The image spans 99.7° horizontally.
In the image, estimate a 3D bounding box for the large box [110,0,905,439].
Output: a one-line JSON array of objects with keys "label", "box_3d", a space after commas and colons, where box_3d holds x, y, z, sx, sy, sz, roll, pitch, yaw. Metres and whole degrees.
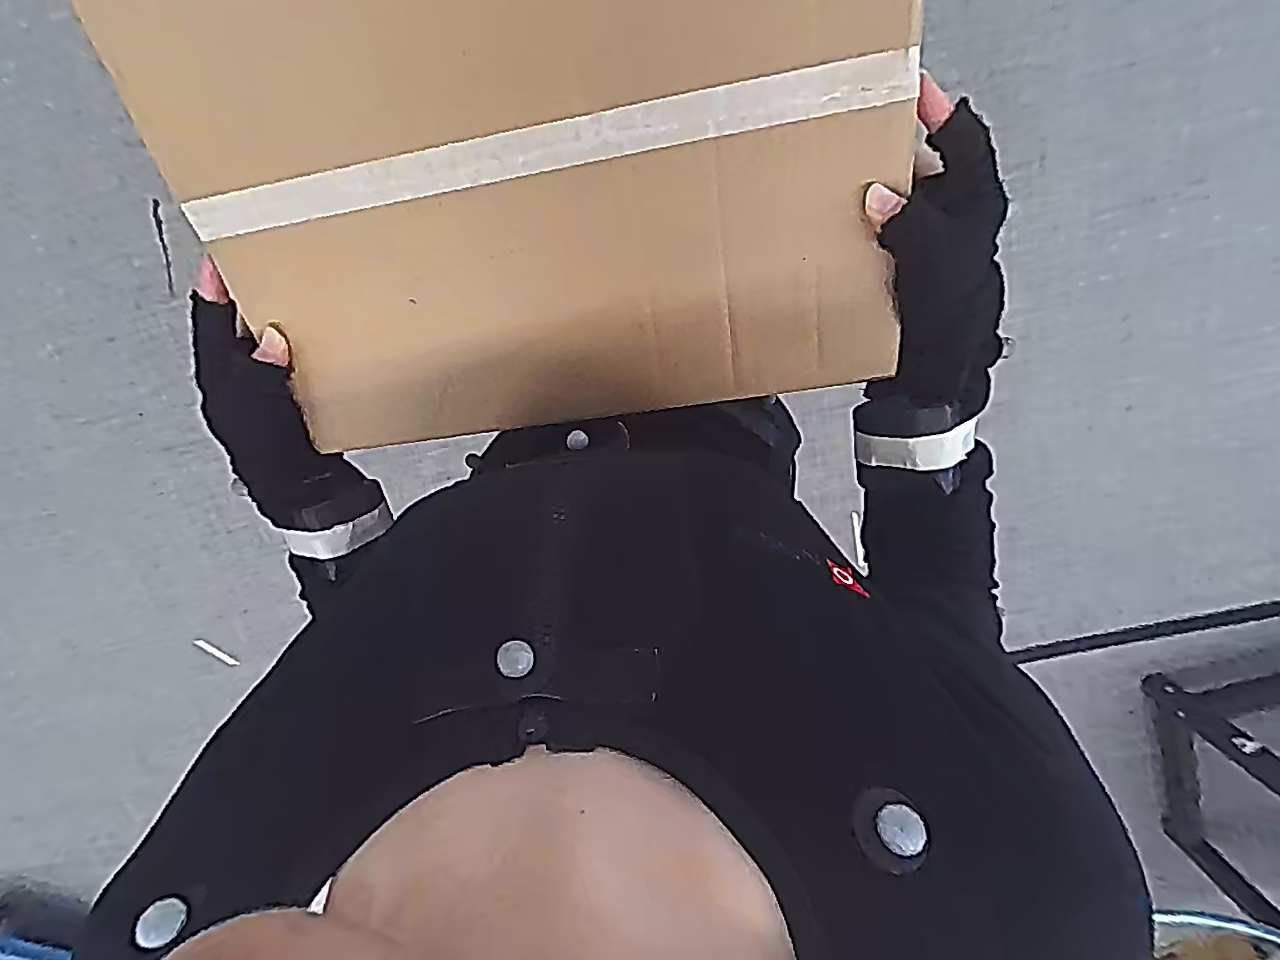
[{"label": "large box", "box_3d": [-0.054, -0.259, 0.430, 0.408, 0.320, 0.320, -7, 121, 8]}]
